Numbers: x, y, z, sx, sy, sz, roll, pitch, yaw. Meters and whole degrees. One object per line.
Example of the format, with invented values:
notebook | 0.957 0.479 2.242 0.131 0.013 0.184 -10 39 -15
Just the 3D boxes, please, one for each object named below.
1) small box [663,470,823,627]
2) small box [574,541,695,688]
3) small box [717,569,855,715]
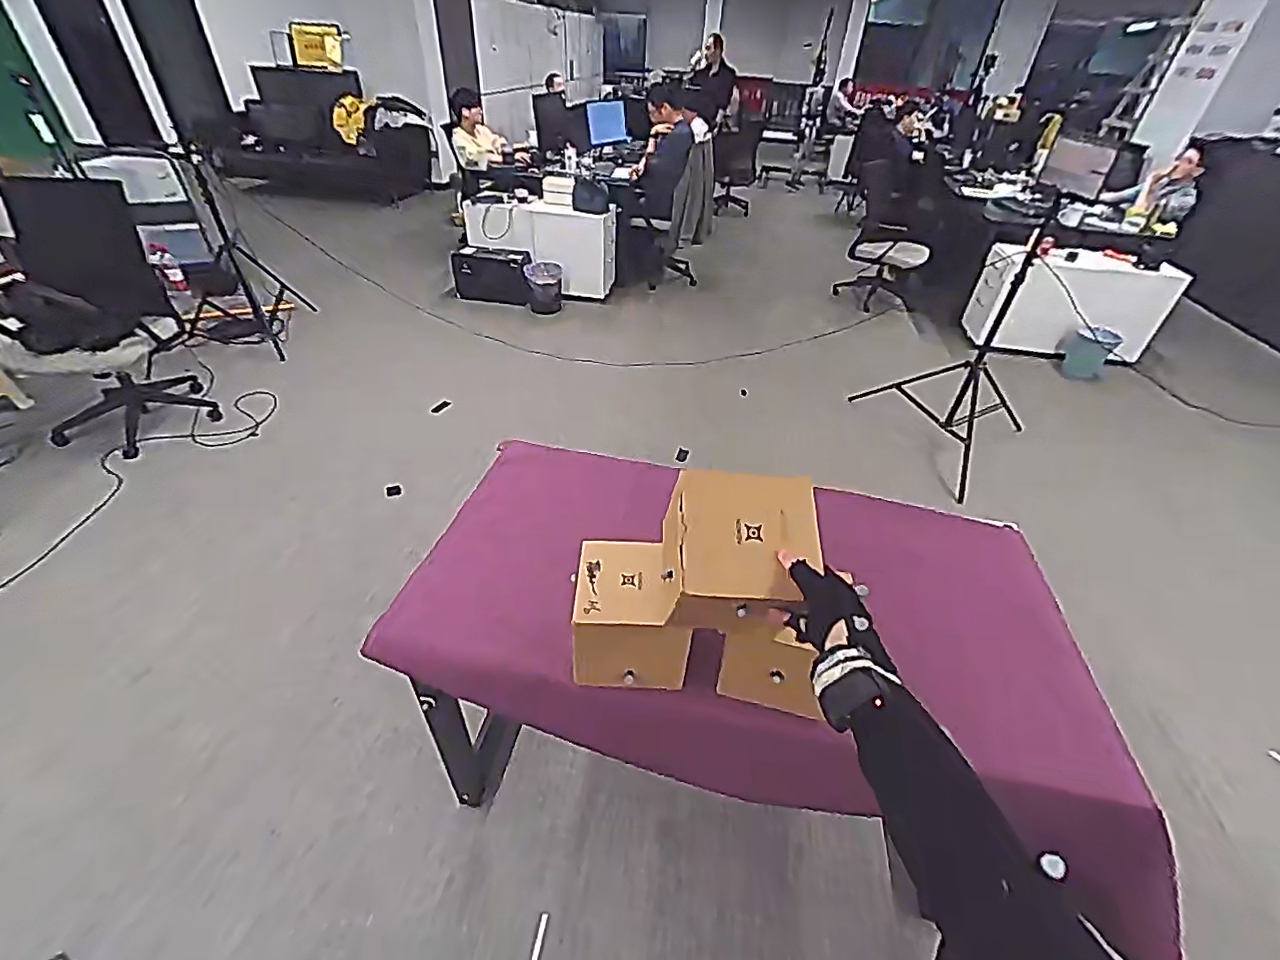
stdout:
small box | 0.126 0.100 0.740 0.179 0.176 0.168 3 62 -4
small box | -0.013 0.221 0.884 0.179 0.176 0.168 3 38 -2
small box | 0.230 0.249 0.867 0.179 0.176 0.168 11 38 11
